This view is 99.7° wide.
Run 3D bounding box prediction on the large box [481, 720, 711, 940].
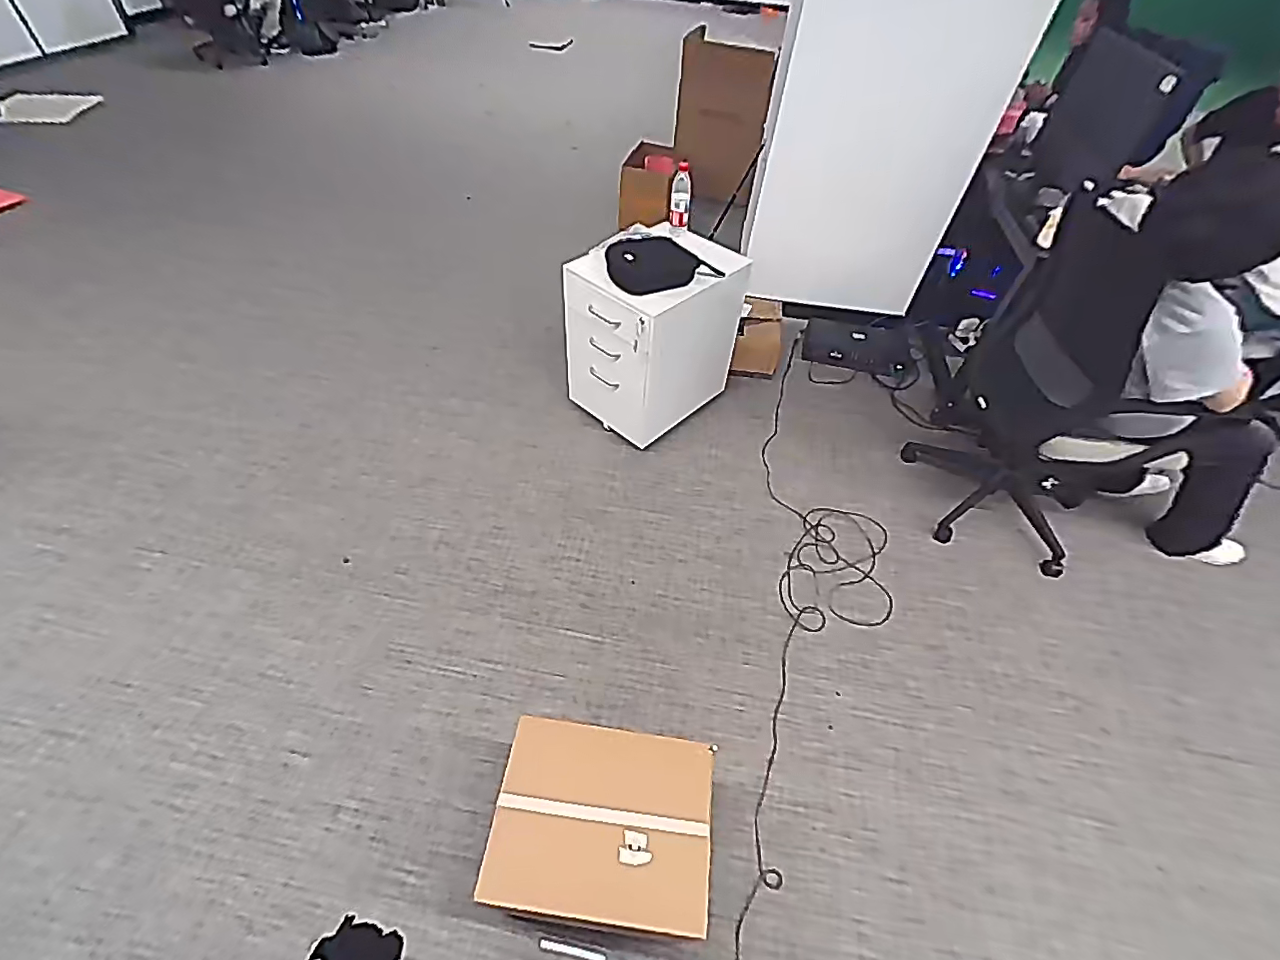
[{"bbox_3d":[-0.077,0.736,1.135,0.408,0.320,0.320,8,49,1],"label":"large box"}]
